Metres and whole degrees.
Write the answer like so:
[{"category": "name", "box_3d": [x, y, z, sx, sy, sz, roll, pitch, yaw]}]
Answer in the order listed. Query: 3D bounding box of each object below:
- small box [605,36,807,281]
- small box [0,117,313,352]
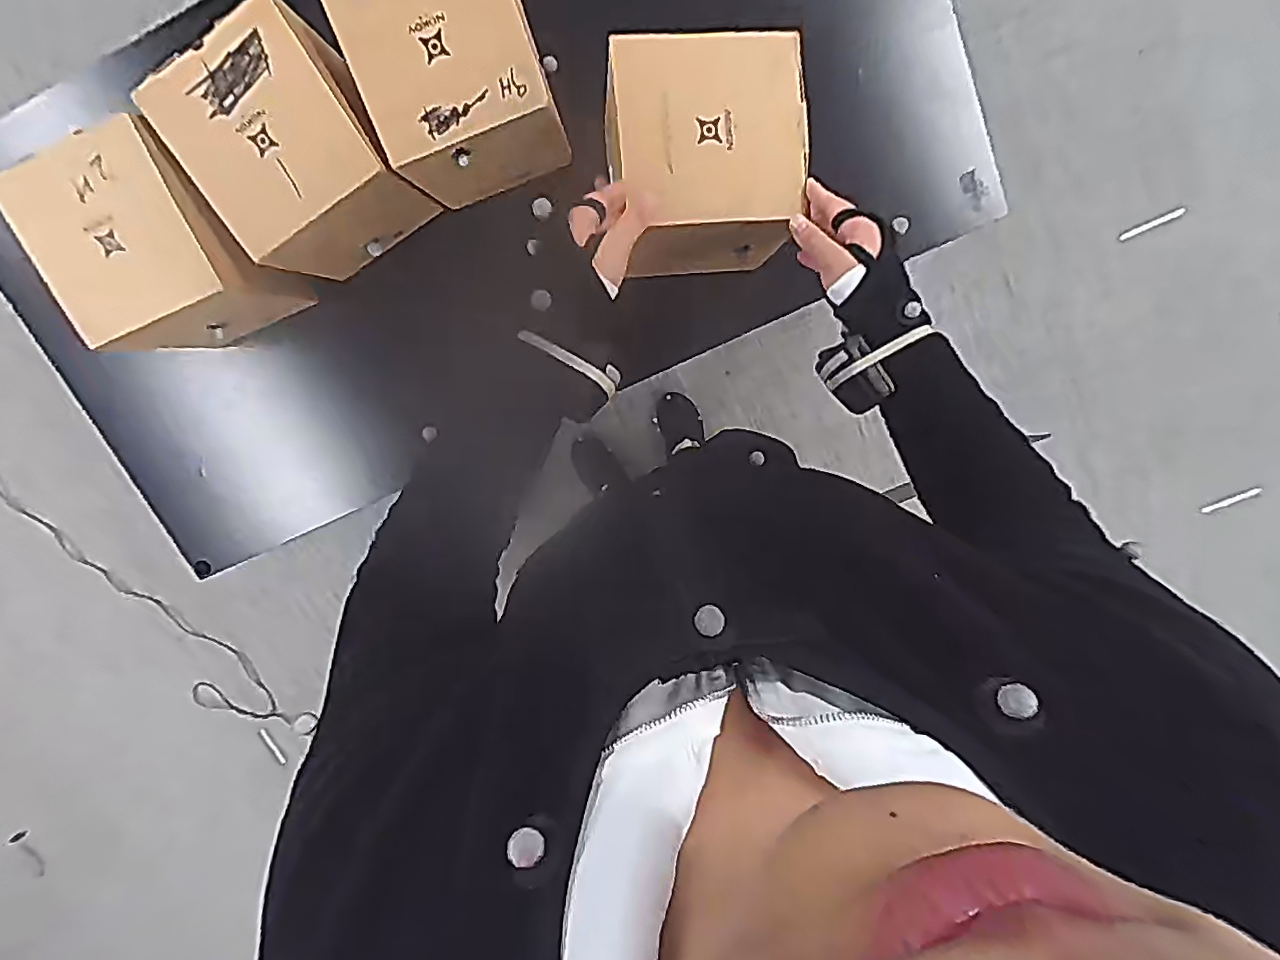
[{"category": "small box", "box_3d": [0.057, -0.321, 0.572, 0.179, 0.176, 0.168, -6, 95, -3]}, {"category": "small box", "box_3d": [-0.522, -0.259, 0.616, 0.168, 0.176, 0.179, -21, 102, 5]}]
